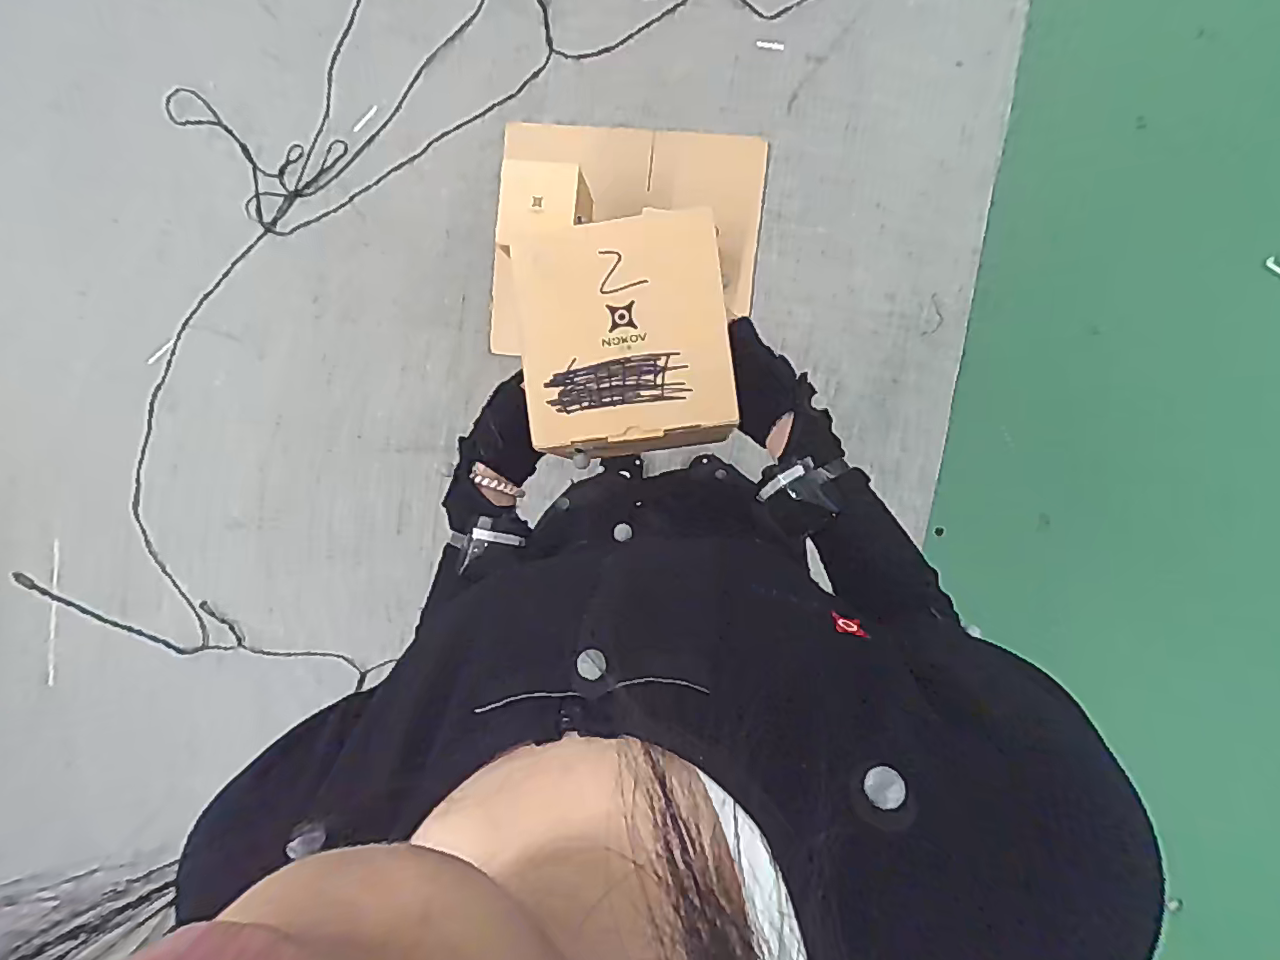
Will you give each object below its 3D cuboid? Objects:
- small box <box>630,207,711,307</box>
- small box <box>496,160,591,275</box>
[{"bbox_3d":[0.078,-0.547,1.345,0.168,0.176,0.179,11,96,5],"label":"small box"},{"bbox_3d":[-0.207,-0.576,1.202,0.168,0.176,0.179,7,95,4],"label":"small box"}]
